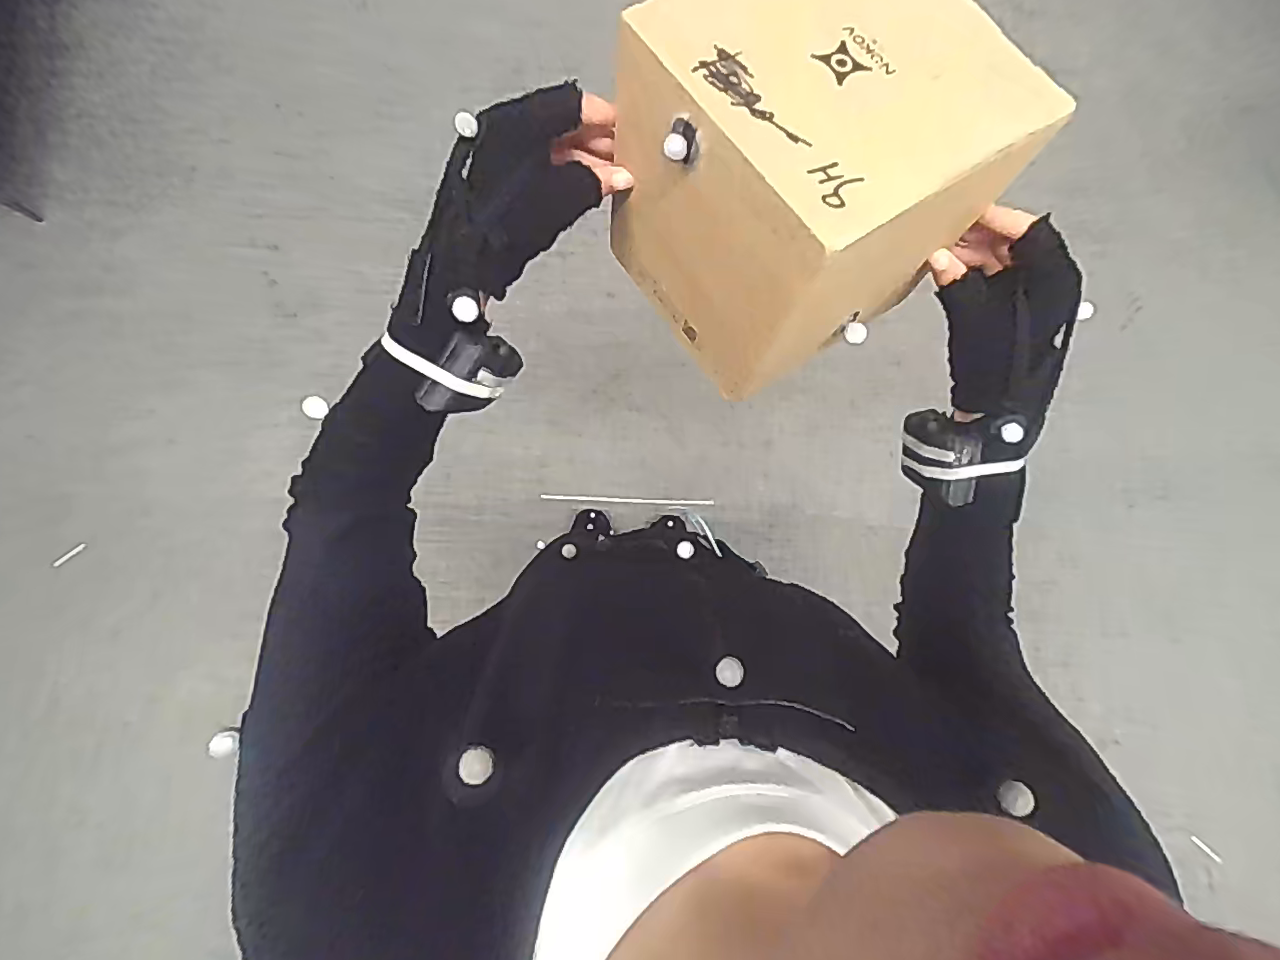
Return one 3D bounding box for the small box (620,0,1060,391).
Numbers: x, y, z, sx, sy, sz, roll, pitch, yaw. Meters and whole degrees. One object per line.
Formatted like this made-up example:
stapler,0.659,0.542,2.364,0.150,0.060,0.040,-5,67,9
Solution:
small box,0.100,-0.192,0.355,0.179,0.176,0.168,-33,78,-14
